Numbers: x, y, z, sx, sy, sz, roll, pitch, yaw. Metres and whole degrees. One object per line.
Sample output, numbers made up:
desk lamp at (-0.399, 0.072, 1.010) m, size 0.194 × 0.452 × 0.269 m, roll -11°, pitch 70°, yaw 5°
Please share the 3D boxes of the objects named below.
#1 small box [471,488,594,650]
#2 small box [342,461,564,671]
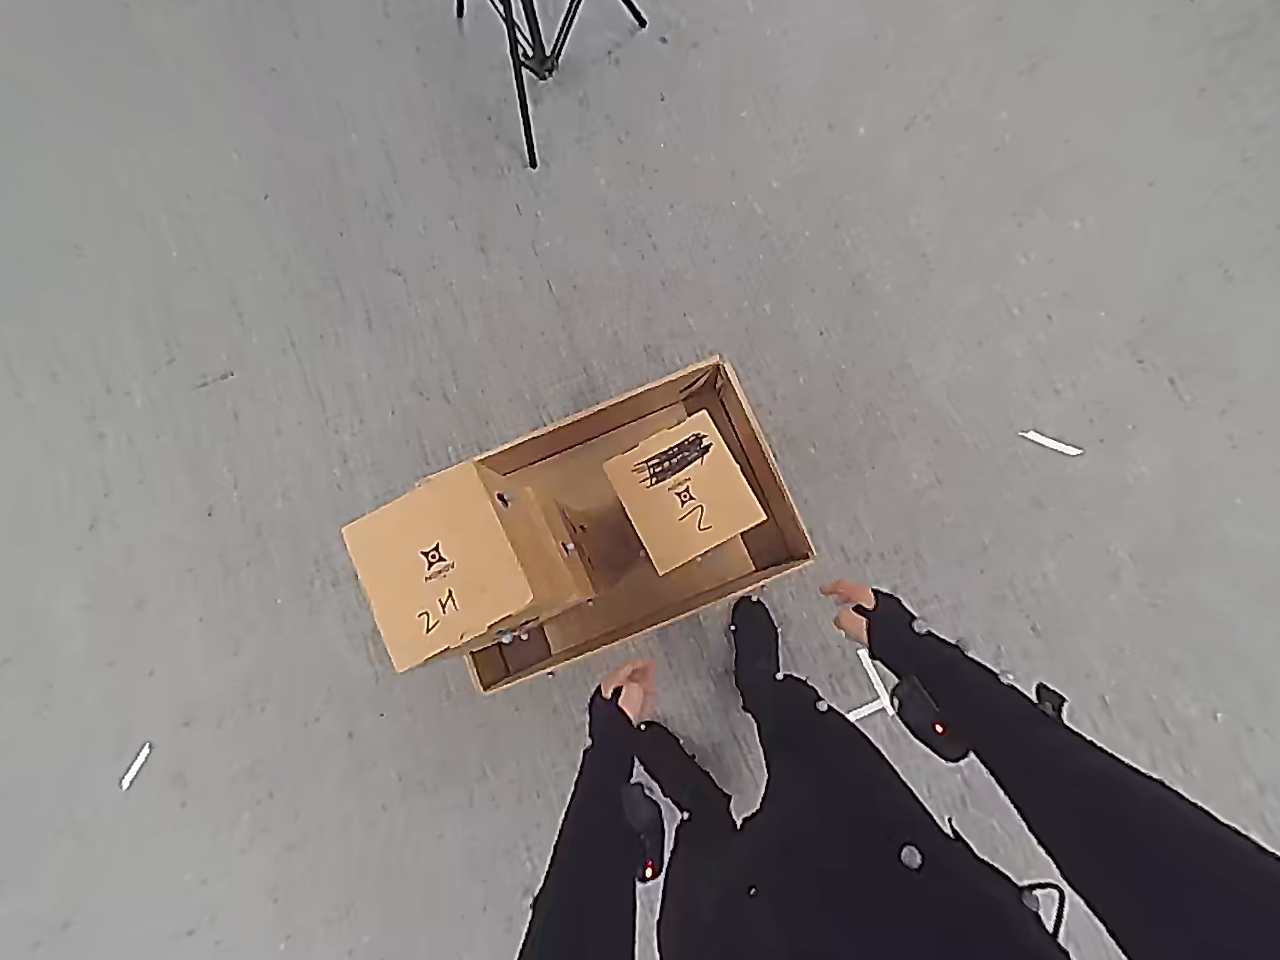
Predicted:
small box at (-0.184, 0.132, 0.817) m, size 0.168 × 0.176 × 0.179 m, roll -26°, pitch 79°, yaw 0°
small box at (-0.212, 0.104, 0.656) m, size 0.168 × 0.176 × 0.179 m, roll -28°, pitch 79°, yaw 0°
